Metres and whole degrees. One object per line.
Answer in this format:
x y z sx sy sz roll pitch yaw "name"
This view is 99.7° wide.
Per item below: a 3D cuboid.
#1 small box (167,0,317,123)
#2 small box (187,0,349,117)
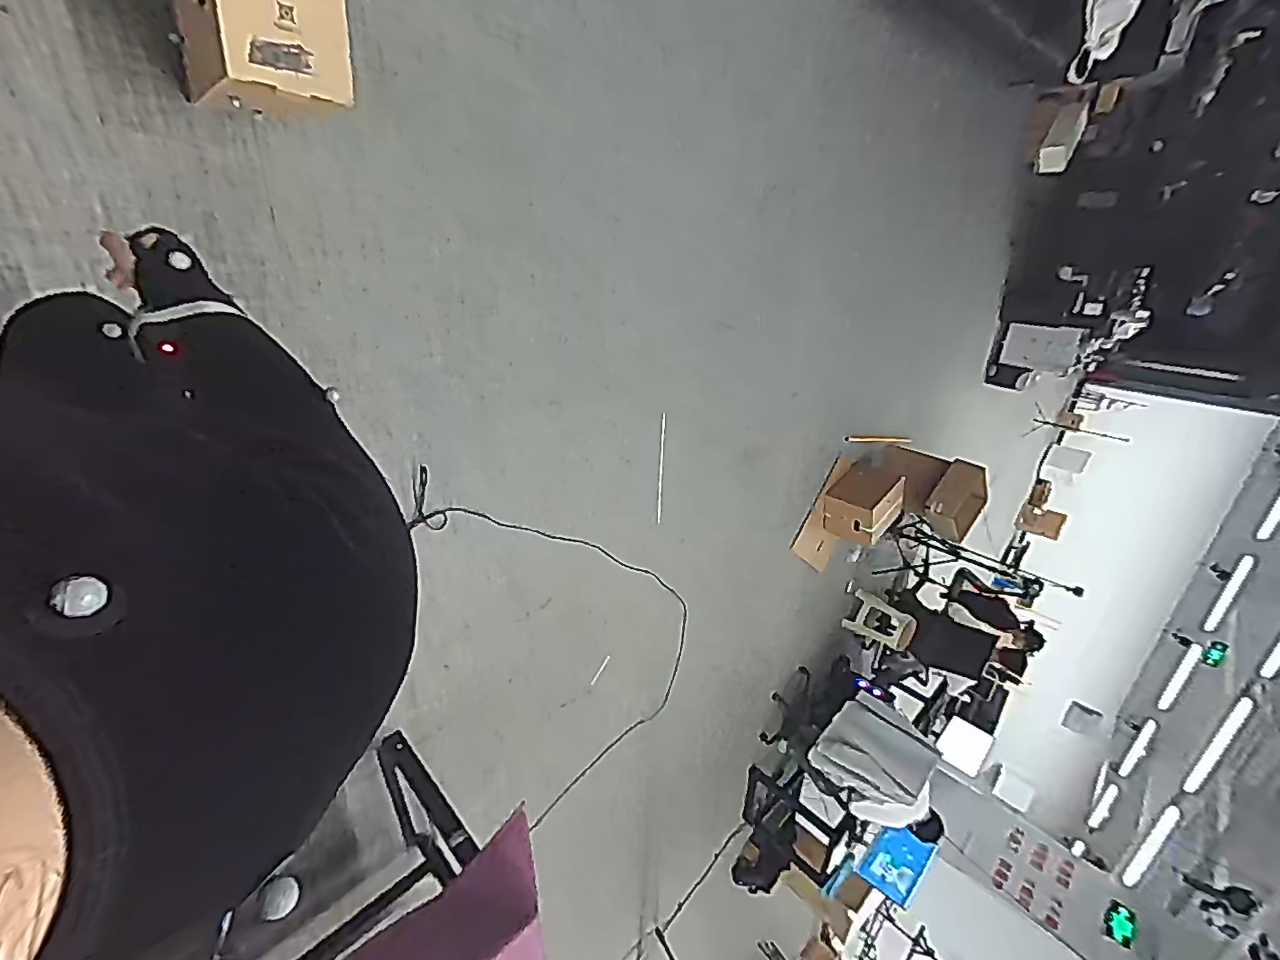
-0.672 -0.727 0.917 0.168 0.176 0.179 -17 121 -42 "small box"
-0.559 -0.670 0.811 0.168 0.176 0.179 -16 119 -42 "small box"
